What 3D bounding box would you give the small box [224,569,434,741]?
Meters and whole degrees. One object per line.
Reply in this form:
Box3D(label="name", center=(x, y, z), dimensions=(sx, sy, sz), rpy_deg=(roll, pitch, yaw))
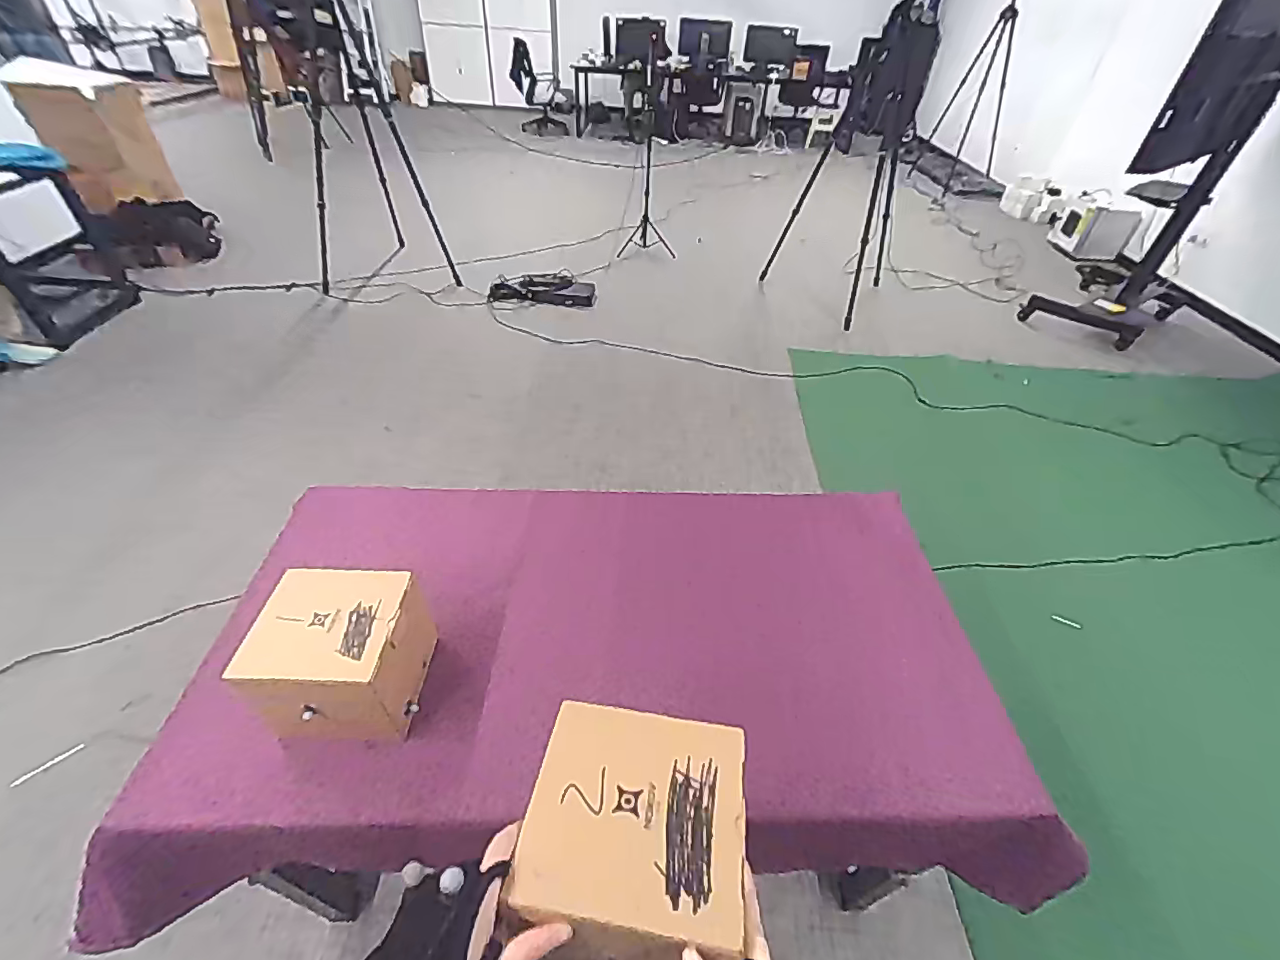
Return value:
Box3D(label="small box", center=(-0.404, 0.243, 0.747), dimensions=(0.179, 0.176, 0.168), rpy_deg=(2, 42, -1))
